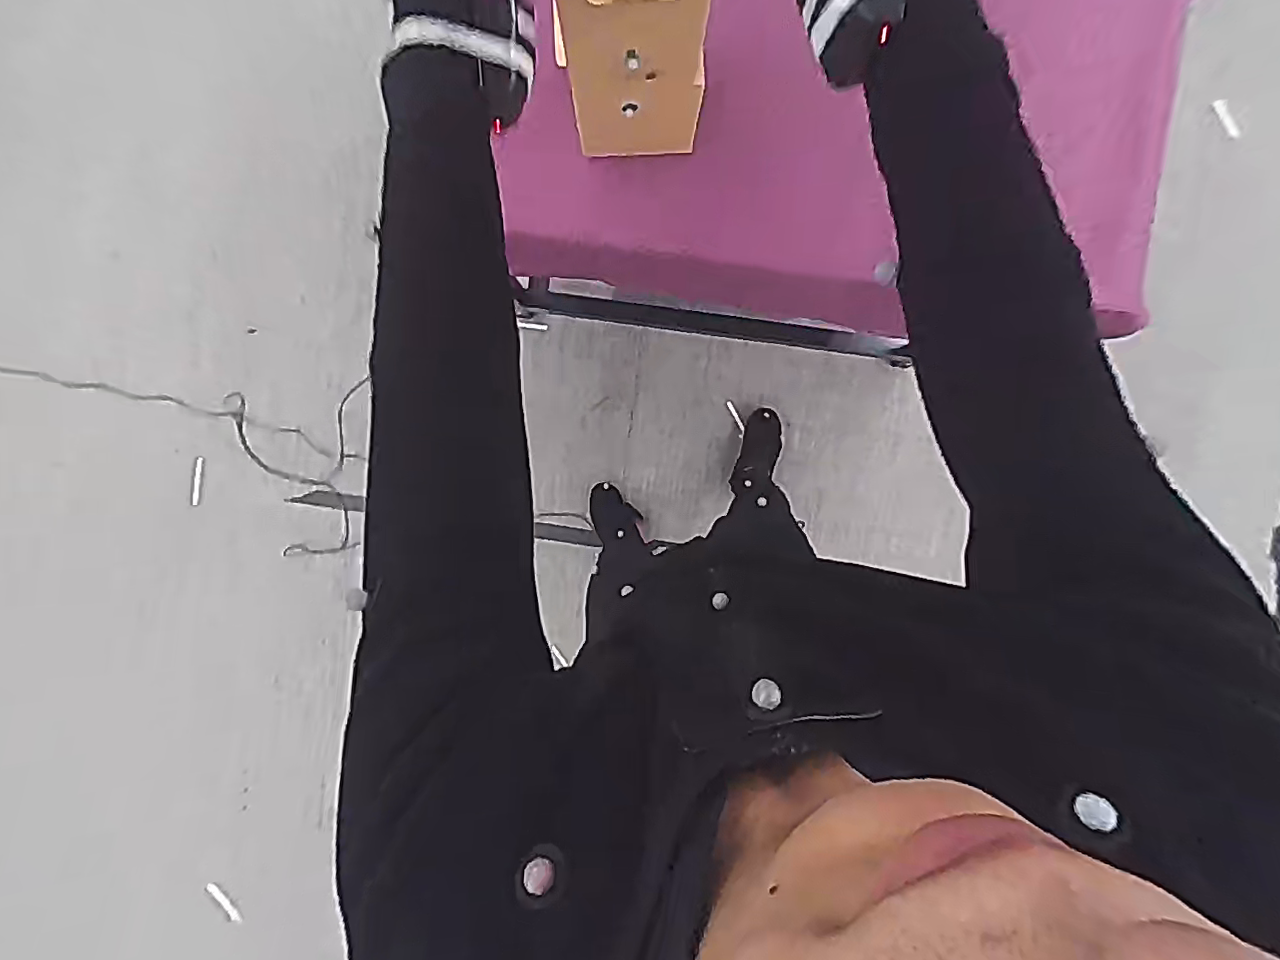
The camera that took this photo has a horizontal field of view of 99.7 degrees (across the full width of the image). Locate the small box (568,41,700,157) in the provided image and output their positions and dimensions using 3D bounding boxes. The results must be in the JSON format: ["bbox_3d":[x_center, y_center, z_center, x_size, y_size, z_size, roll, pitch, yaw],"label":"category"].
[{"bbox_3d":[-0.011,-0.596,0.785,0.179,0.176,0.168,-3,93,-1],"label":"small box"}]

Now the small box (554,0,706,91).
[{"bbox_3d":[-0.017,-0.593,0.620,0.168,0.176,0.179,-4,93,0],"label":"small box"}]
